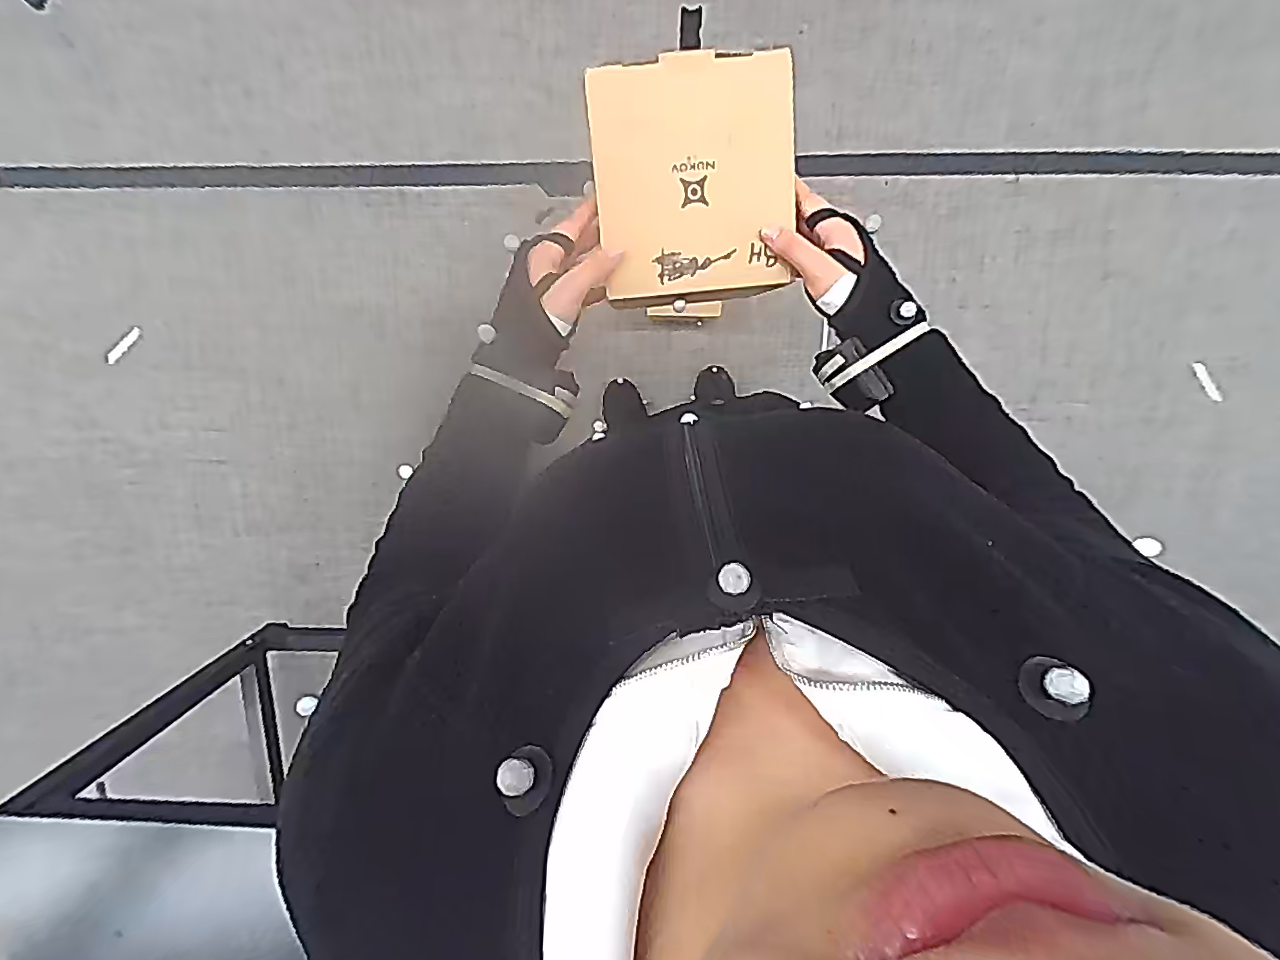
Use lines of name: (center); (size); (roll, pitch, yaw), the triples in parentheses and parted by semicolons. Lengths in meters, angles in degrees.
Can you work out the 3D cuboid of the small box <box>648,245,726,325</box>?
small box: (0.110, -0.472, 1.324); (0.179, 0.176, 0.168); (1, 102, 2)
